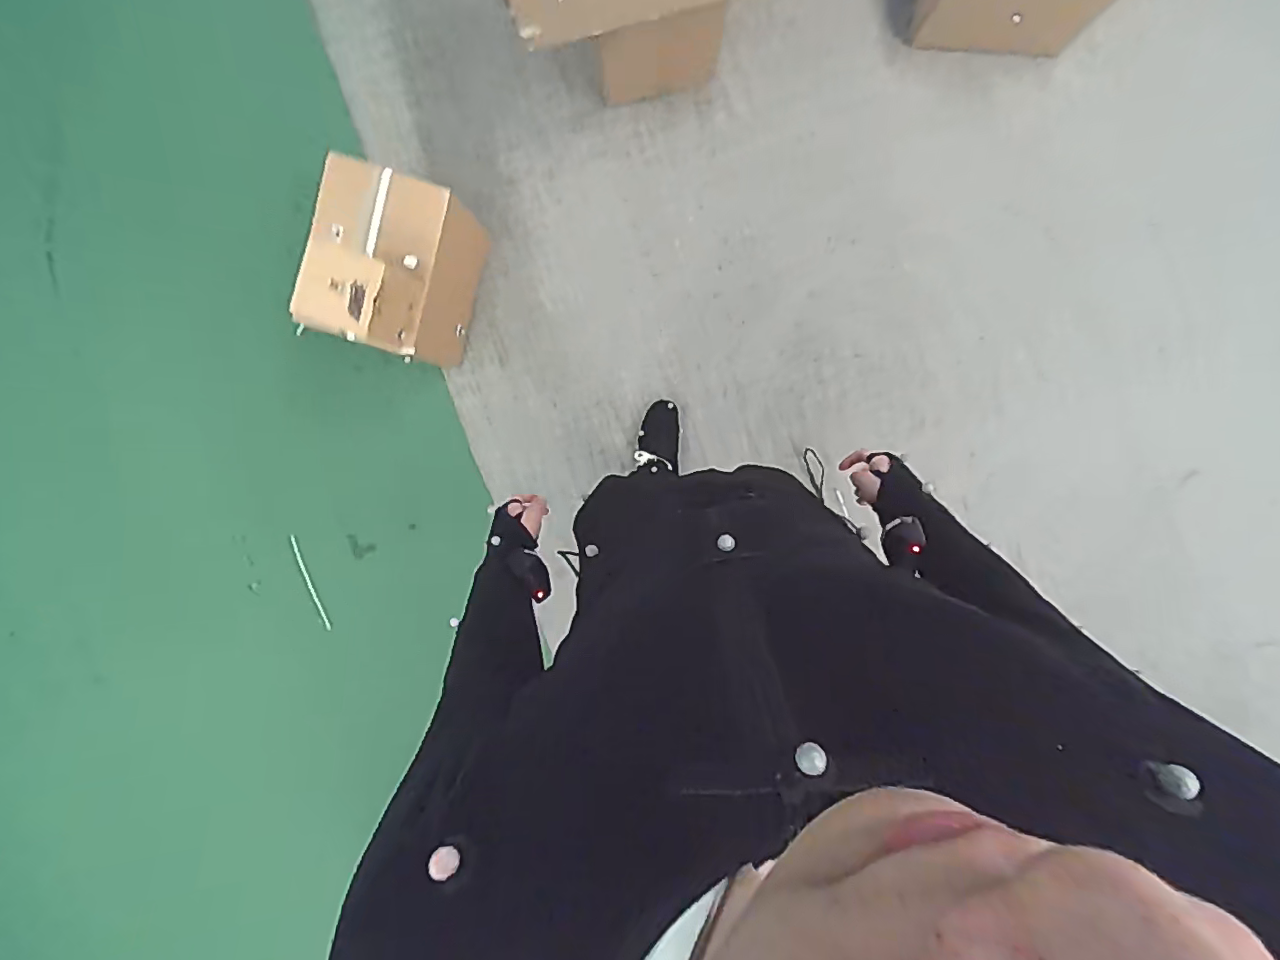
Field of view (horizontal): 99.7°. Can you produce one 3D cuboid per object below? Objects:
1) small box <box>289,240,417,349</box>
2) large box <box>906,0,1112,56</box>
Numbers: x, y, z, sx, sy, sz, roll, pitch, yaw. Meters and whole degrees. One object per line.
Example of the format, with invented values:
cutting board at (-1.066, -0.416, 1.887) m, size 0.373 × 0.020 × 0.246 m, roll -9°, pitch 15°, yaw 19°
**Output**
small box at (-0.629, -0.403, 1.209) m, size 0.179 × 0.176 × 0.168 m, roll 20°, pitch 95°, yaw 0°
large box at (0.924, -1.286, 1.302) m, size 0.408 × 0.320 × 0.320 m, roll 4°, pitch 95°, yaw 3°
